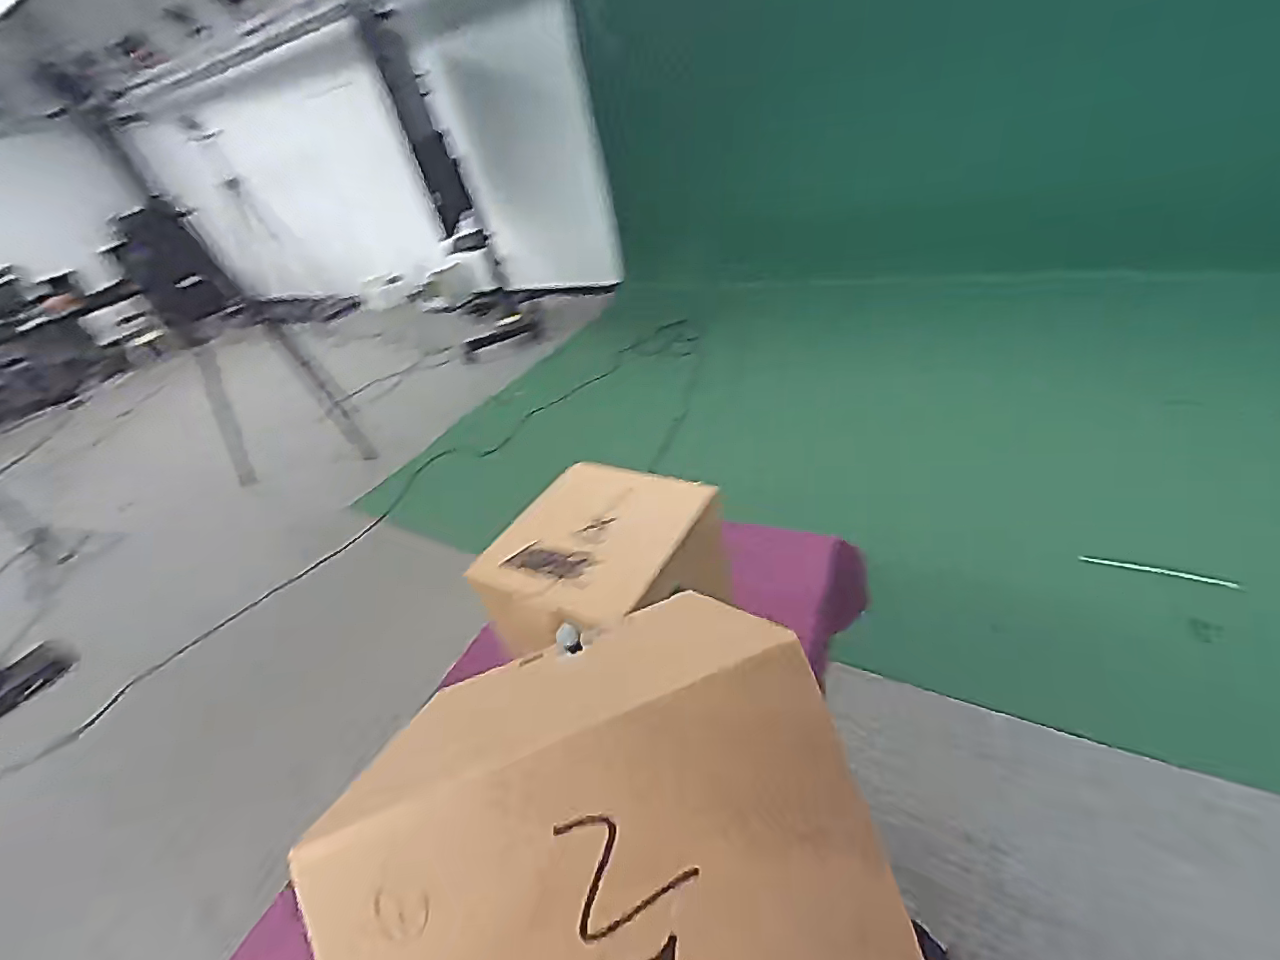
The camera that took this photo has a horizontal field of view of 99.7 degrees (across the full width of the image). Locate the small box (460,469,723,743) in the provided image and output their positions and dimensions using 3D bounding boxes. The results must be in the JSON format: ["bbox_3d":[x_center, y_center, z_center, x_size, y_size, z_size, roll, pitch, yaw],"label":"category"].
[{"bbox_3d":[-0.030,0.114,0.523,0.168,0.176,0.179,10,41,31],"label":"small box"}]
